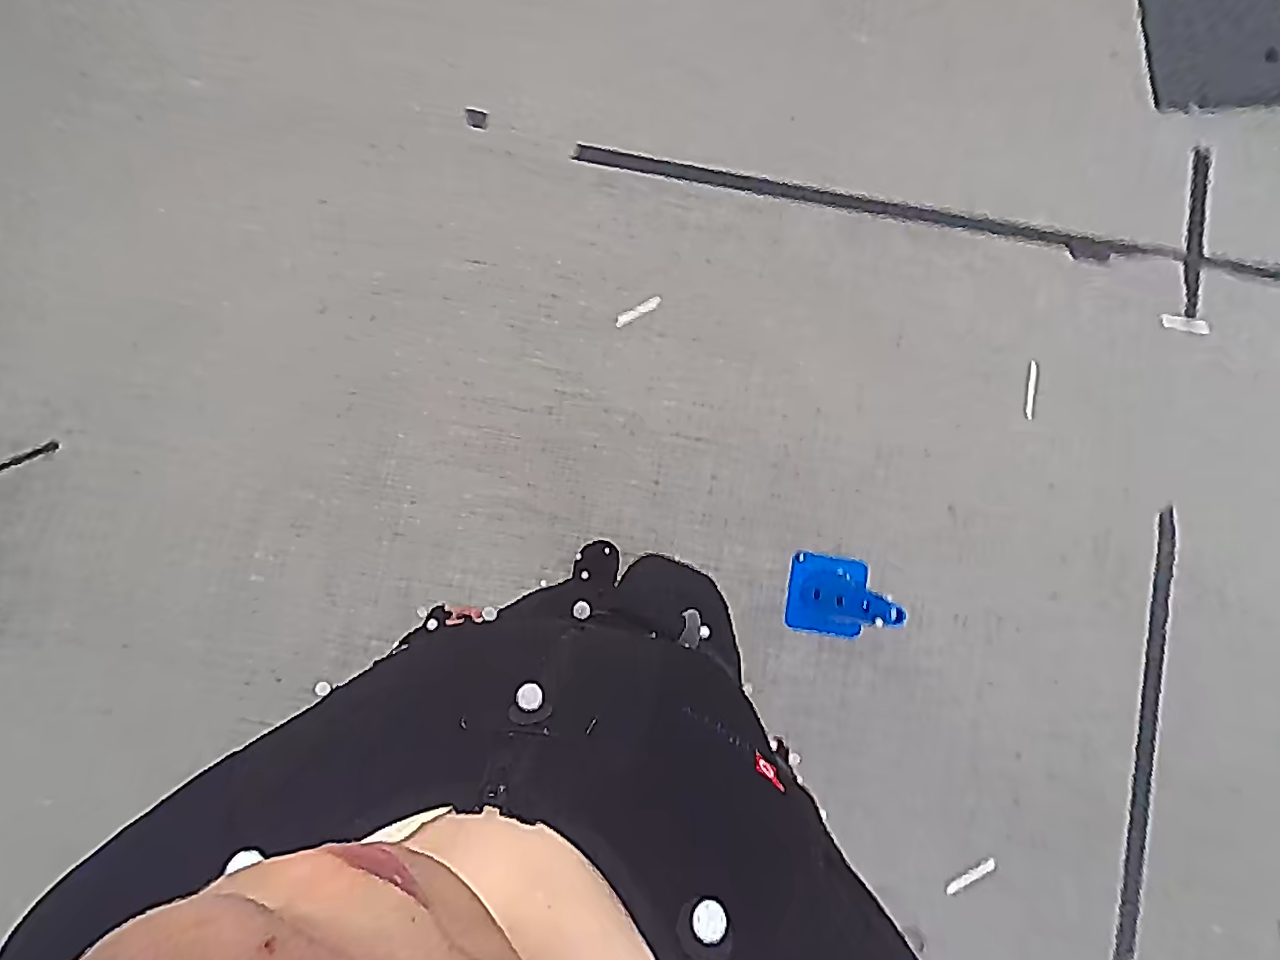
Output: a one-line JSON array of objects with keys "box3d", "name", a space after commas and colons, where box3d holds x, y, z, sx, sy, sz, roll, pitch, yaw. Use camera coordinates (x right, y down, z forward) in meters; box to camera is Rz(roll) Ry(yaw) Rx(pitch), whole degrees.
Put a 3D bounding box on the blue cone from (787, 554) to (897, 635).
[{"box3d": [0.479, 0.277, 1.212, 0.192, 0.380, 0.193, 11, 85, 0], "name": "blue cone"}]
